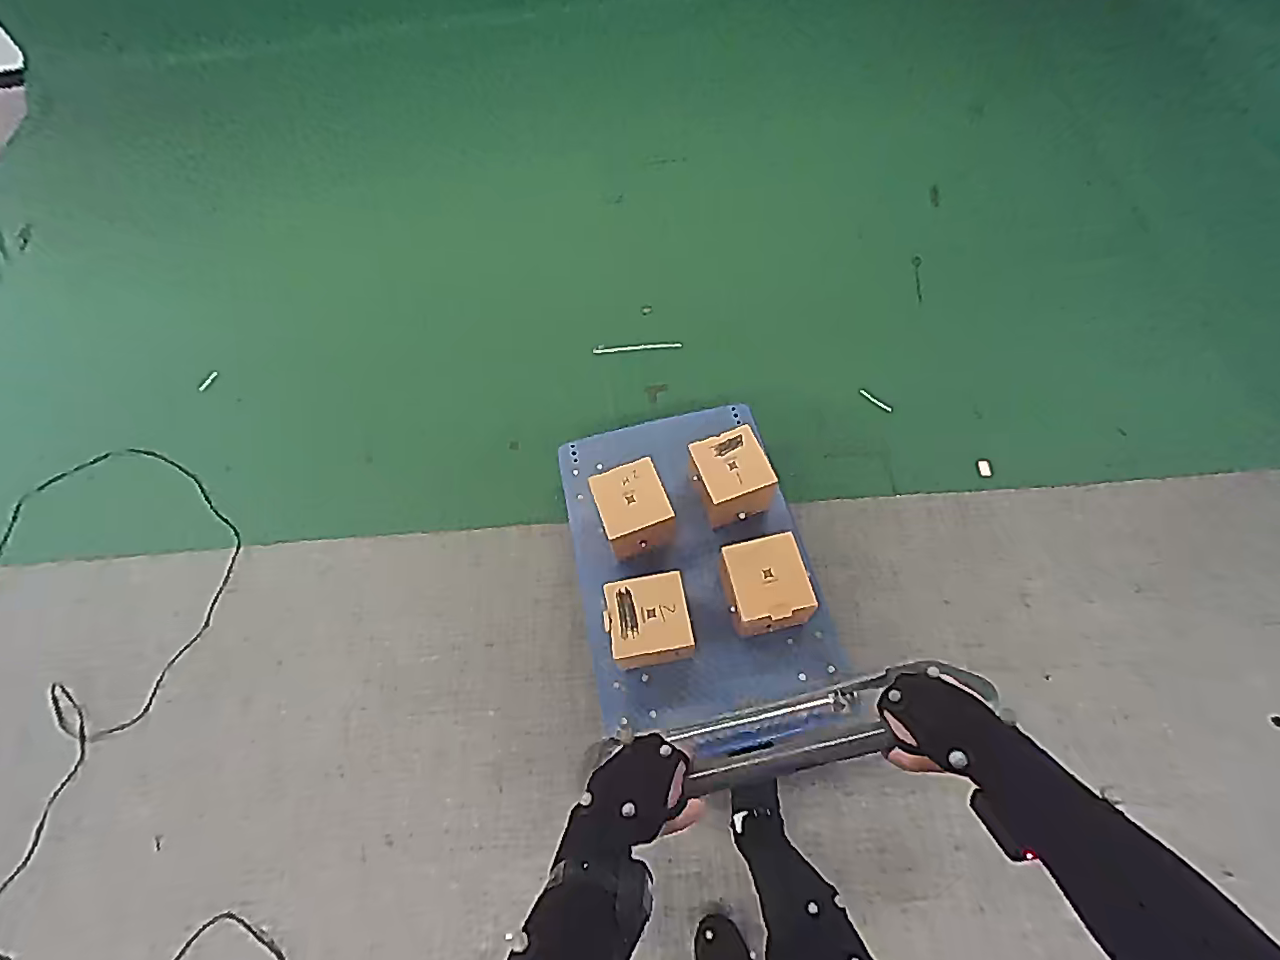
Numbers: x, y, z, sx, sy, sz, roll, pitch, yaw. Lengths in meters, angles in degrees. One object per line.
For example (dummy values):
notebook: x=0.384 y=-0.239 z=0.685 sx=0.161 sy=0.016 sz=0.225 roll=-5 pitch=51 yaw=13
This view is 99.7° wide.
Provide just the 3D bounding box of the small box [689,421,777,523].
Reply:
small box: x=0.229 y=-0.015 z=1.384 sx=0.168 sy=0.176 sz=0.179 roll=-20 pitch=64 yaw=-4

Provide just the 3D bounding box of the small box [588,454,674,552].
small box: x=-0.018 y=0.067 z=1.365 sx=0.168 sy=0.176 sz=0.179 roll=-20 pitch=64 yaw=-6

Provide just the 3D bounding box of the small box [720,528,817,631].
small box: x=0.287 y=0.235 z=1.256 sx=0.168 sy=0.176 sz=0.179 roll=-13 pitch=64 yaw=-1
